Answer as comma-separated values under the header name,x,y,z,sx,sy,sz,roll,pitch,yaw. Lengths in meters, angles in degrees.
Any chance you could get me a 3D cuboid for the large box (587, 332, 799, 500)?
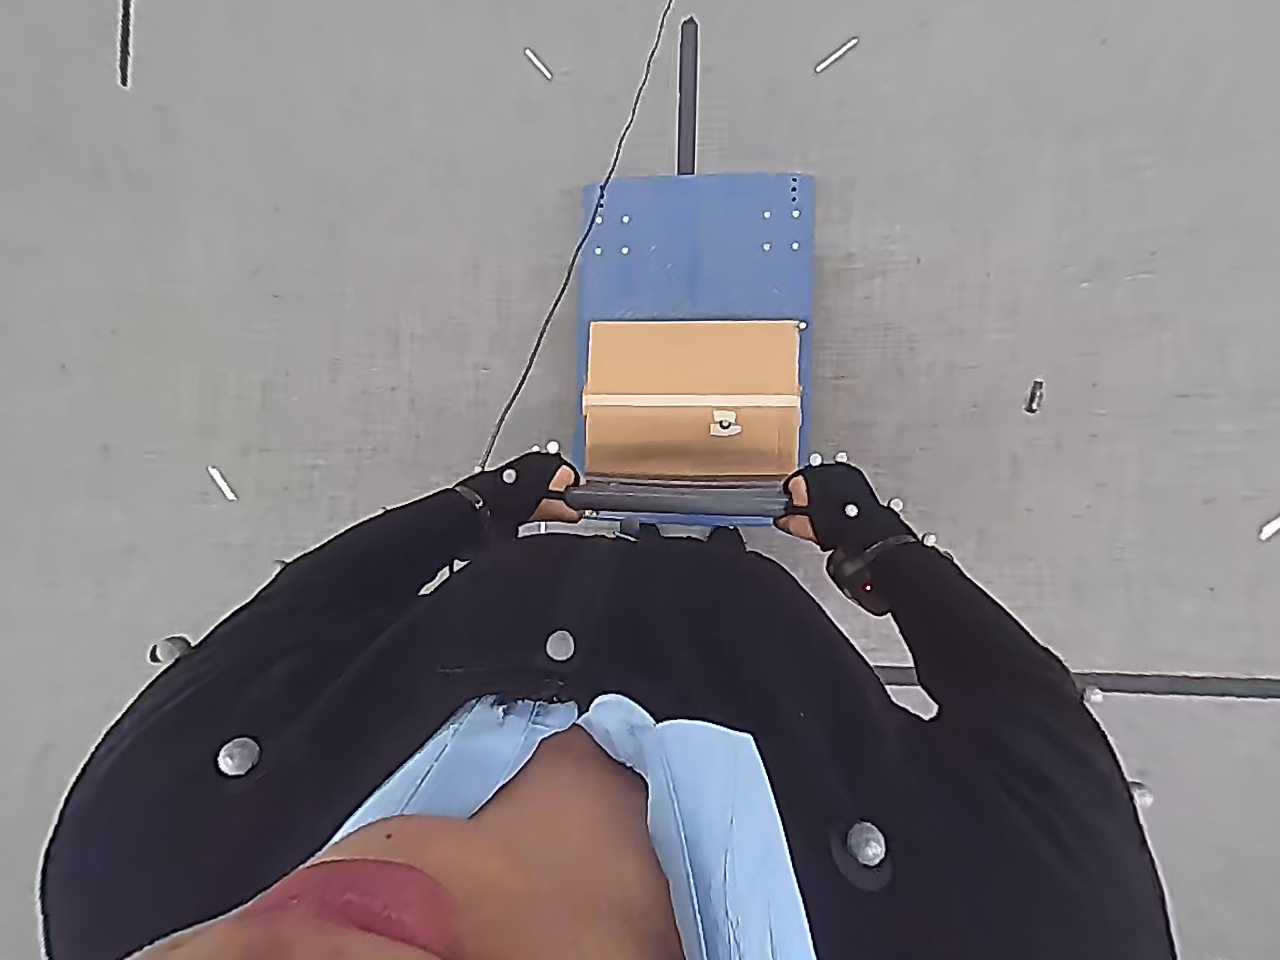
name,x,y,z,sx,sy,sz,roll,pitch,yaw
large box,0.109,-0.117,1.171,0.408,0.320,0.320,1,87,5
